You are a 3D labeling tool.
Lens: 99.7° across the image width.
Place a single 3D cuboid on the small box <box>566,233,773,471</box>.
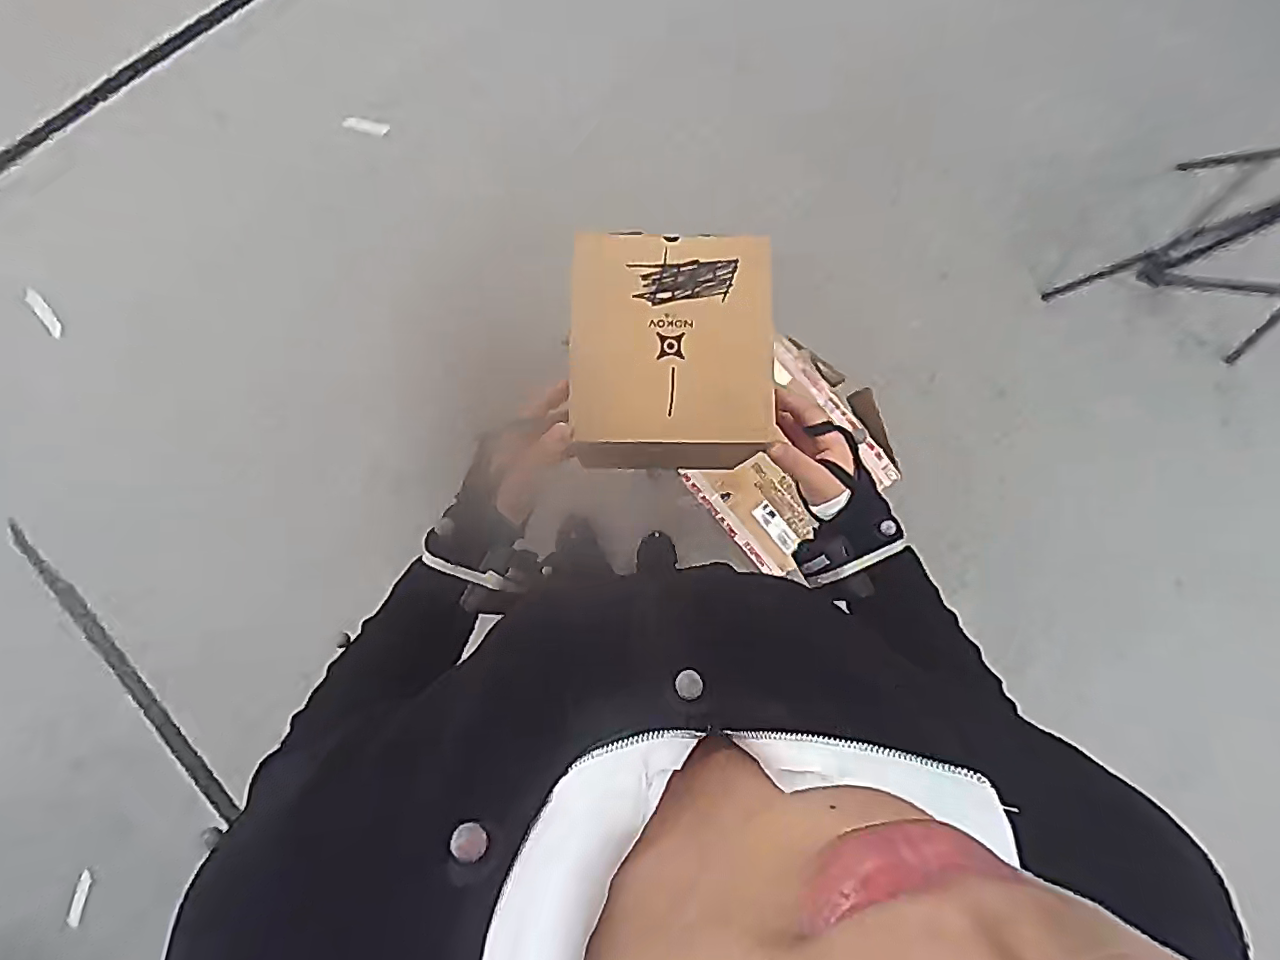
[{"bbox_3d":[0.020,-0.106,0.512,0.168,0.176,0.179,-1,84,-1],"label":"small box"}]
